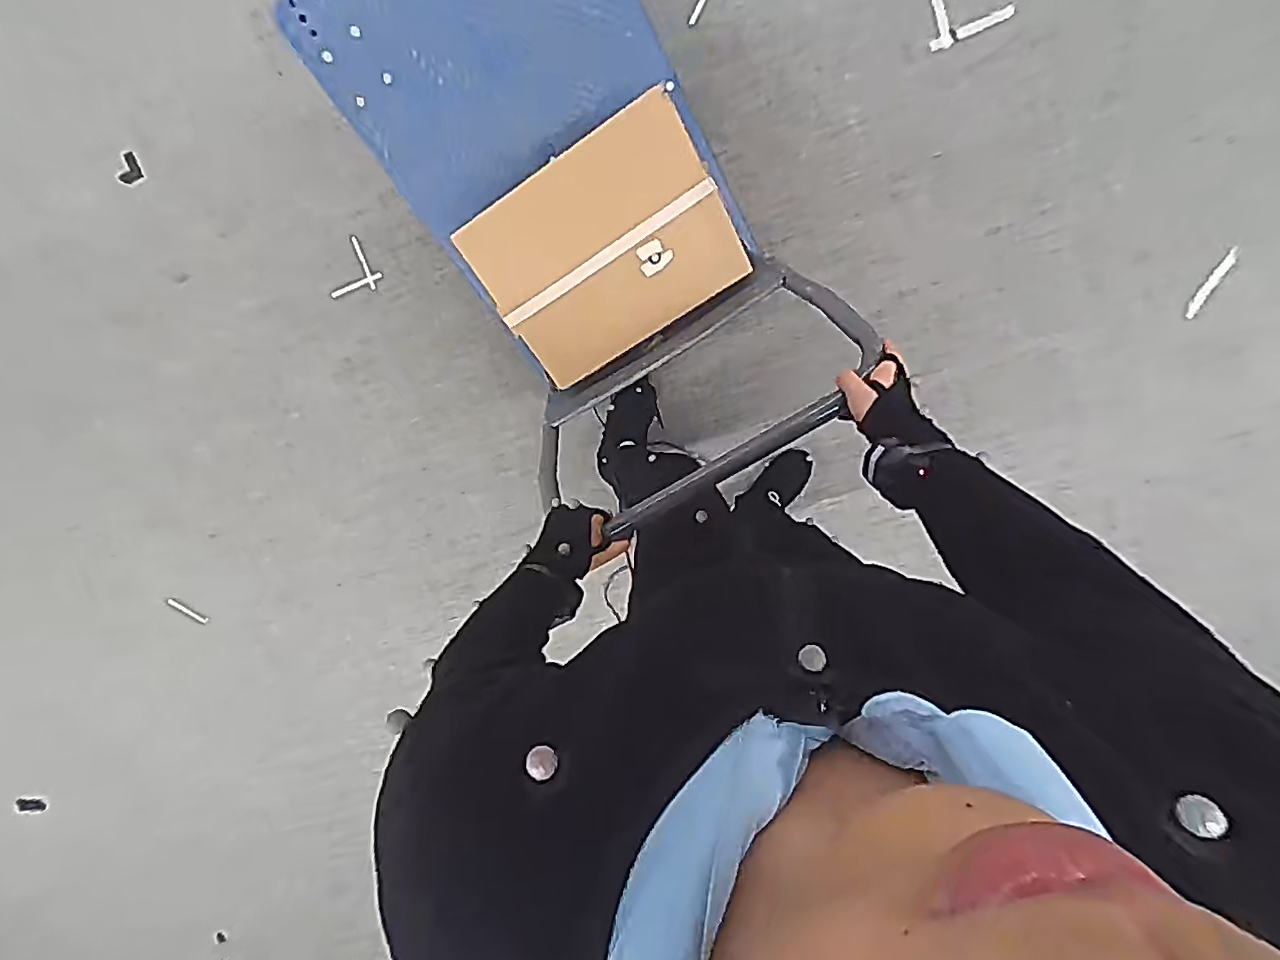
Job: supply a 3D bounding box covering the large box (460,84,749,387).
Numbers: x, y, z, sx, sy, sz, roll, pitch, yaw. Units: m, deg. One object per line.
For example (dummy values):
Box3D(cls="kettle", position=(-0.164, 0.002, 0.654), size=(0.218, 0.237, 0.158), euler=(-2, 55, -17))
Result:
Box3D(cls="large box", position=(-0.068, -0.451, 1.042), size=(0.408, 0.320, 0.320), euler=(-31, 117, 10))
